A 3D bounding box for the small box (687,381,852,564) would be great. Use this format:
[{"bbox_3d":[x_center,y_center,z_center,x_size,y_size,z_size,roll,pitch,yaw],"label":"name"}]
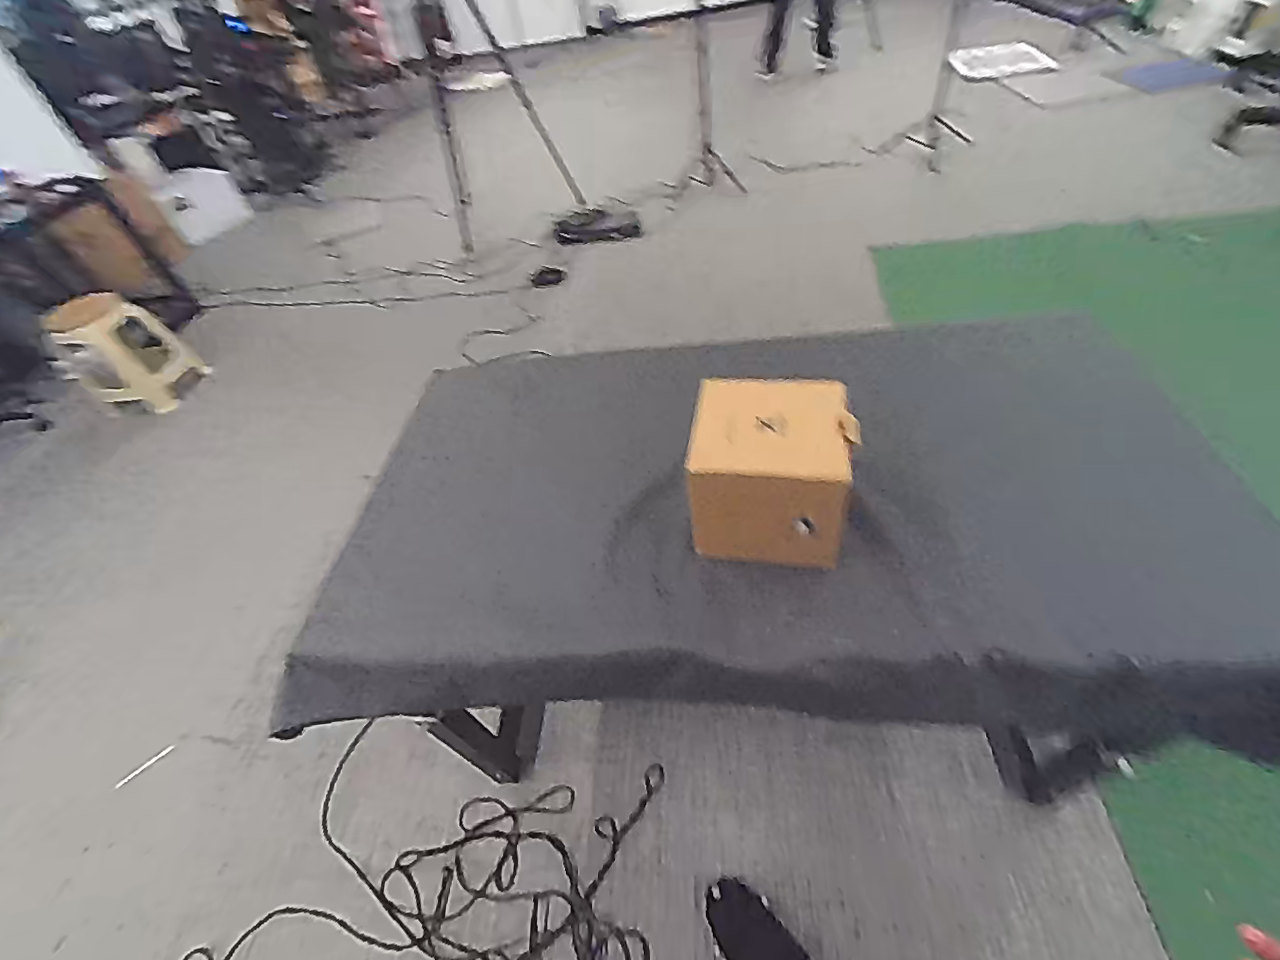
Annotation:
[{"bbox_3d":[0.163,-0.008,0.690,0.179,0.176,0.168,2,47,14],"label":"small box"}]
